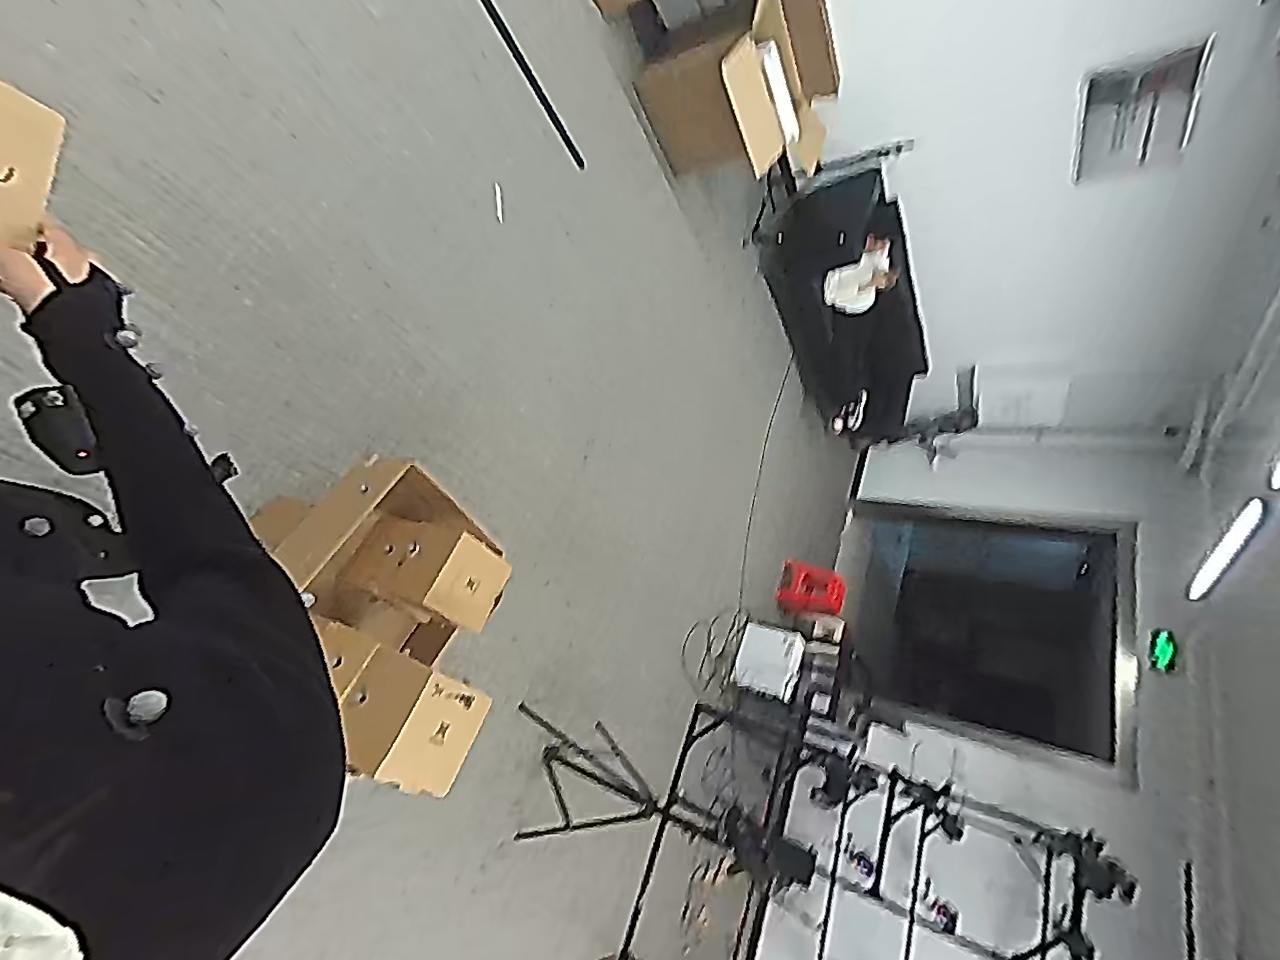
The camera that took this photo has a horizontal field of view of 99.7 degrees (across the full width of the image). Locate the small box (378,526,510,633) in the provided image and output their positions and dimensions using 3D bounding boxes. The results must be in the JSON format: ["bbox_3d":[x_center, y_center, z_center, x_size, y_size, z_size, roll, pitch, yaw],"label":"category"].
[{"bbox_3d":[-0.430,0.214,1.194,0.179,0.176,0.168,53,51,-45],"label":"small box"}]

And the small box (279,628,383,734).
[{"bbox_3d":[-0.550,0.404,1.053,0.168,0.176,0.179,-63,141,-28],"label":"small box"}]

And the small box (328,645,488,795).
[{"bbox_3d":[-0.415,0.422,0.961,0.168,0.176,0.179,55,51,-45],"label":"small box"}]
